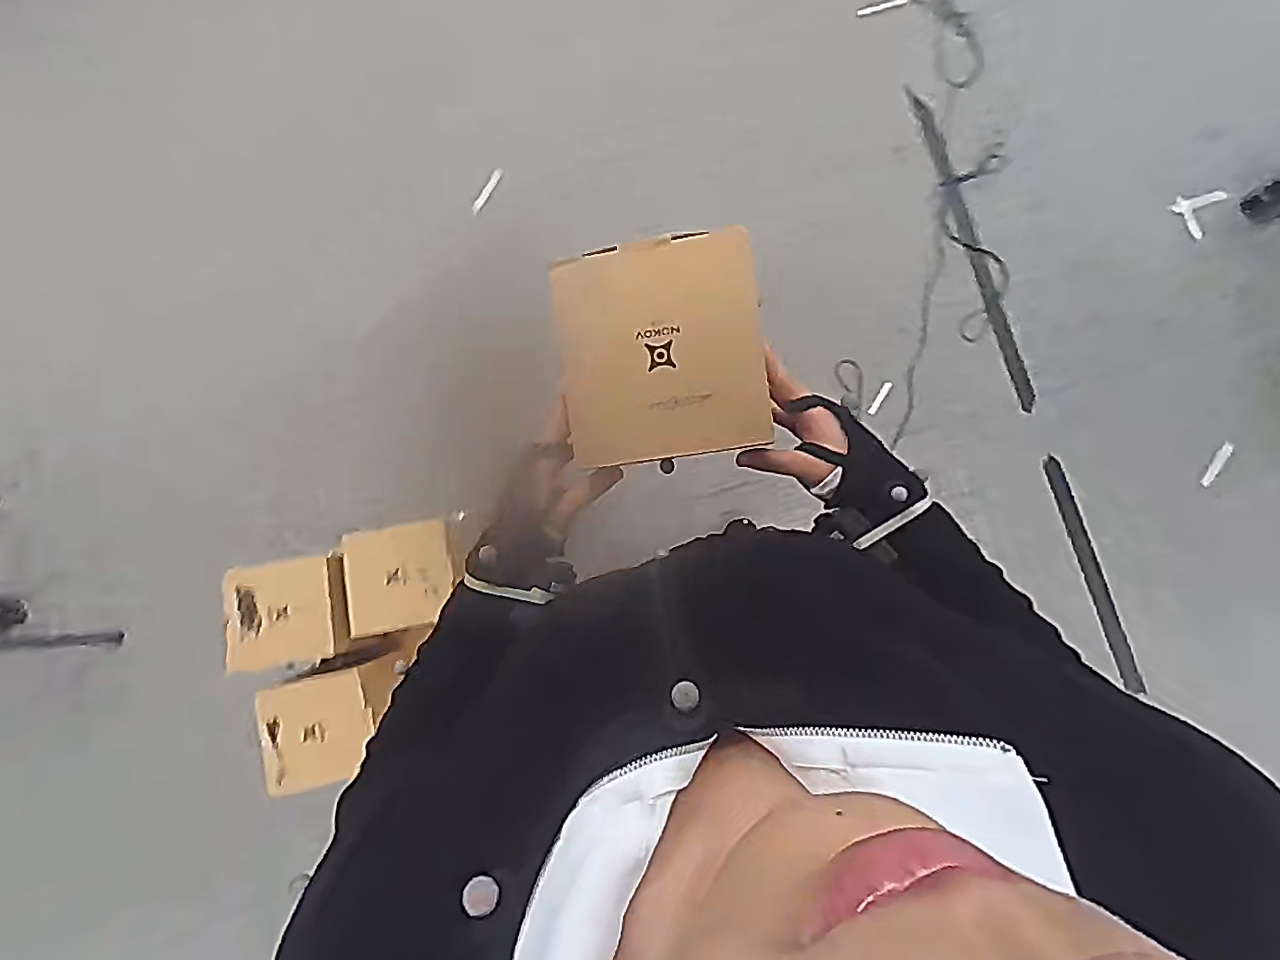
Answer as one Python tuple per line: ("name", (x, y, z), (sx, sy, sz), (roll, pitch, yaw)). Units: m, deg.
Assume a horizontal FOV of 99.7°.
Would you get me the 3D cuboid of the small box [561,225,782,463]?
("small box", (0.030, -0.110, 0.511), (0.168, 0.176, 0.179), (-6, 93, 5))
